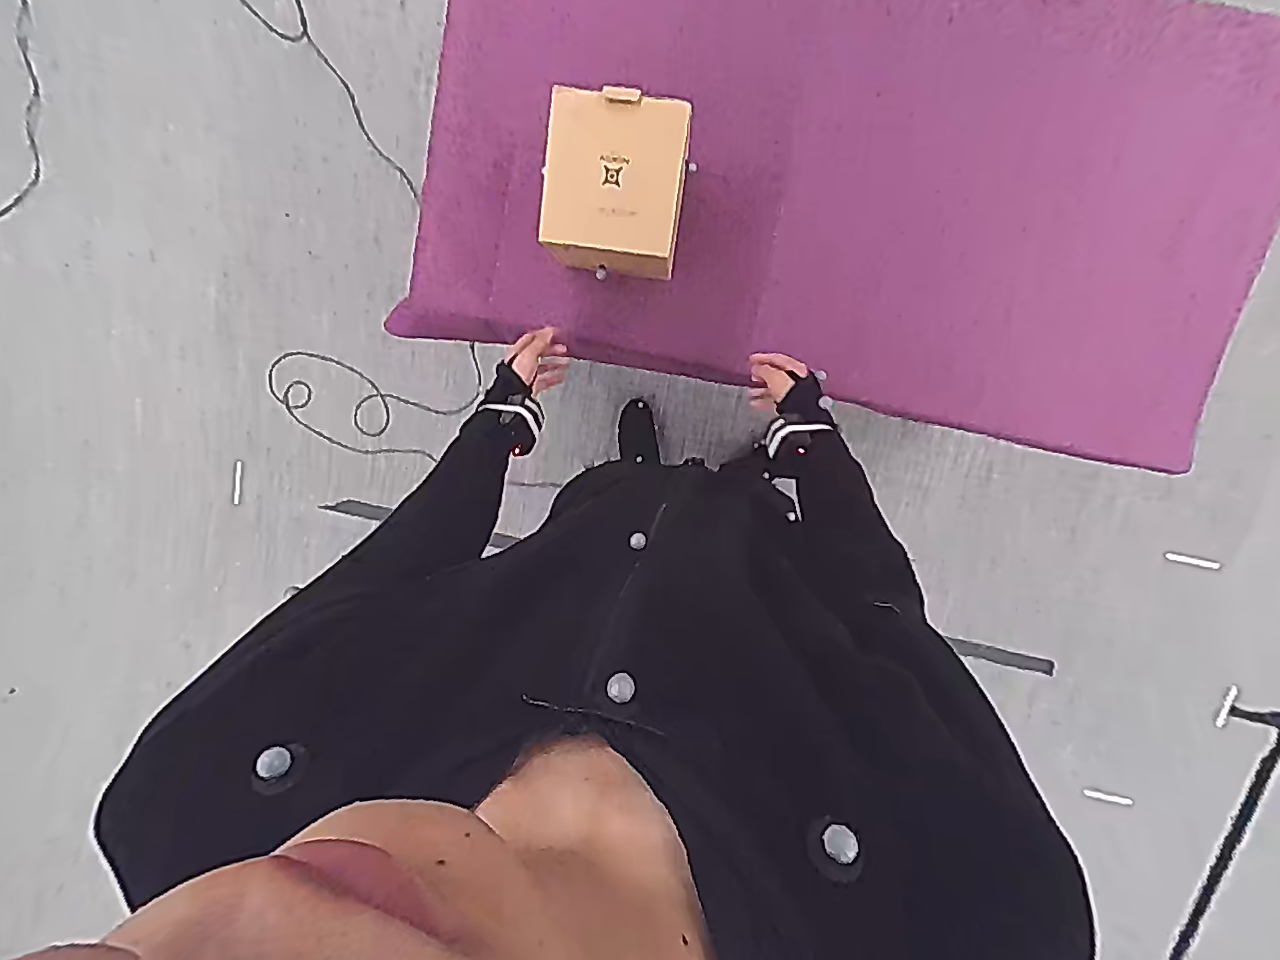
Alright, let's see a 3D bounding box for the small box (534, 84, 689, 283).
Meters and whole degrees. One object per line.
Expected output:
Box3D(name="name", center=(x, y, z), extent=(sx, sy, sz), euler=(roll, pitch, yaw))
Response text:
Box3D(name="small box", center=(-0.033, -0.377, 0.718), extent=(0.168, 0.176, 0.179), euler=(9, 101, 2))
